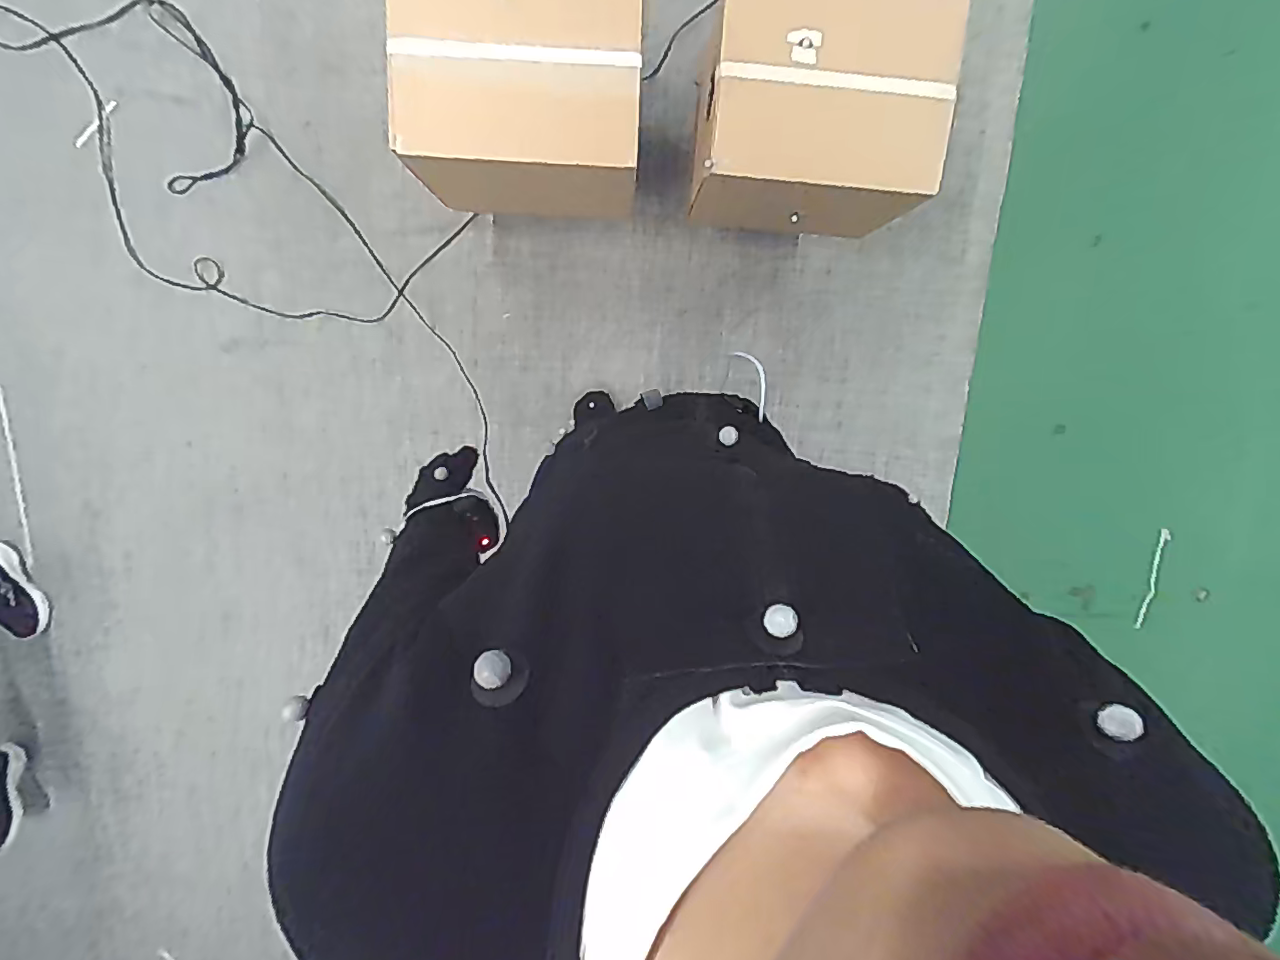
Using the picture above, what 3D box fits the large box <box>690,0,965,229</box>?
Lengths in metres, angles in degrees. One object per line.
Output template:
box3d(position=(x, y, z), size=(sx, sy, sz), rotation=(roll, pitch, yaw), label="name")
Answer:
box3d(position=(0.328, -0.701, 1.058), size=(0.408, 0.320, 0.320), rotation=(4, 101, -3), label="large box")
